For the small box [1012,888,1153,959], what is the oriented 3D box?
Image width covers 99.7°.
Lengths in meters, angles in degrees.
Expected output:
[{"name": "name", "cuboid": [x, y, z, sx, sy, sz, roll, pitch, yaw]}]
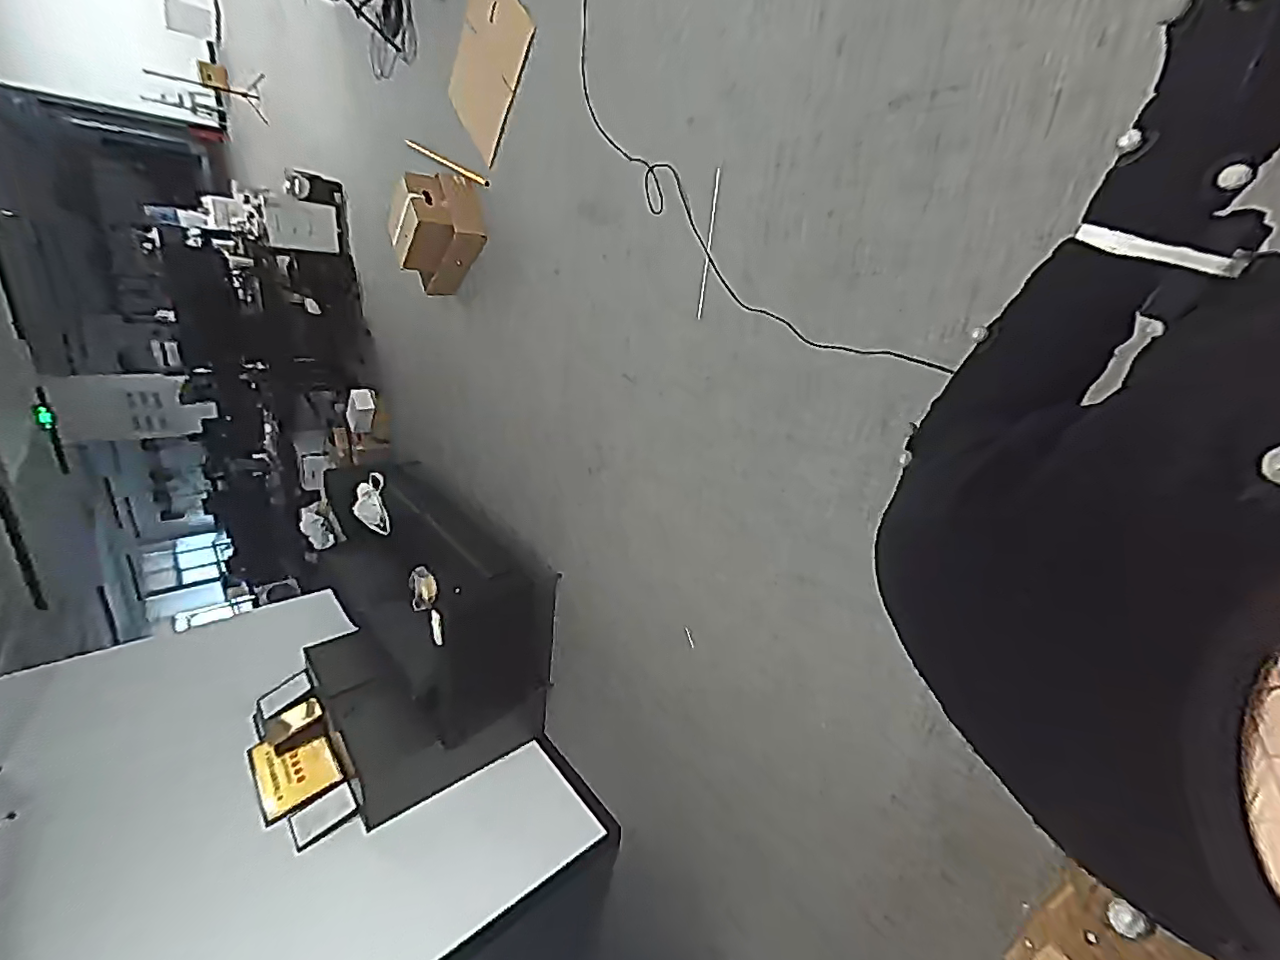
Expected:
[{"name": "small box", "cuboid": [0.851, 0.947, 1.042, 0.168, 0.176, 0.179, 38, 129, 39]}]
